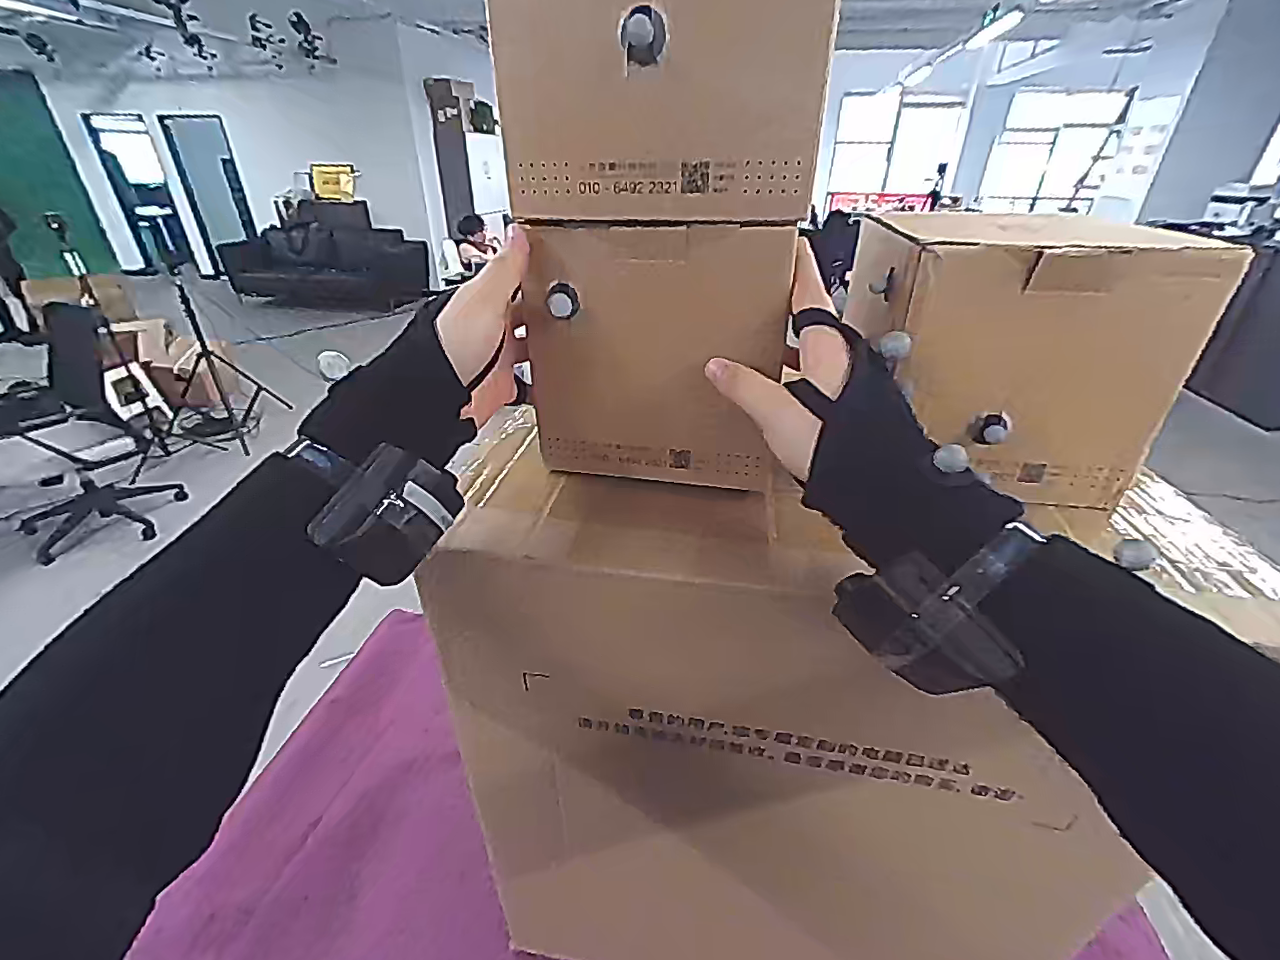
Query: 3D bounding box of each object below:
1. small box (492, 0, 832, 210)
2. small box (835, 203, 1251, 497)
[{"bbox_3d":[0.020,-0.259,0.324,0.168,0.176,0.179,4,30,8],"label":"small box"},{"bbox_3d":[0.255,-0.107,0.406,0.168,0.176,0.179,4,32,7],"label":"small box"}]
